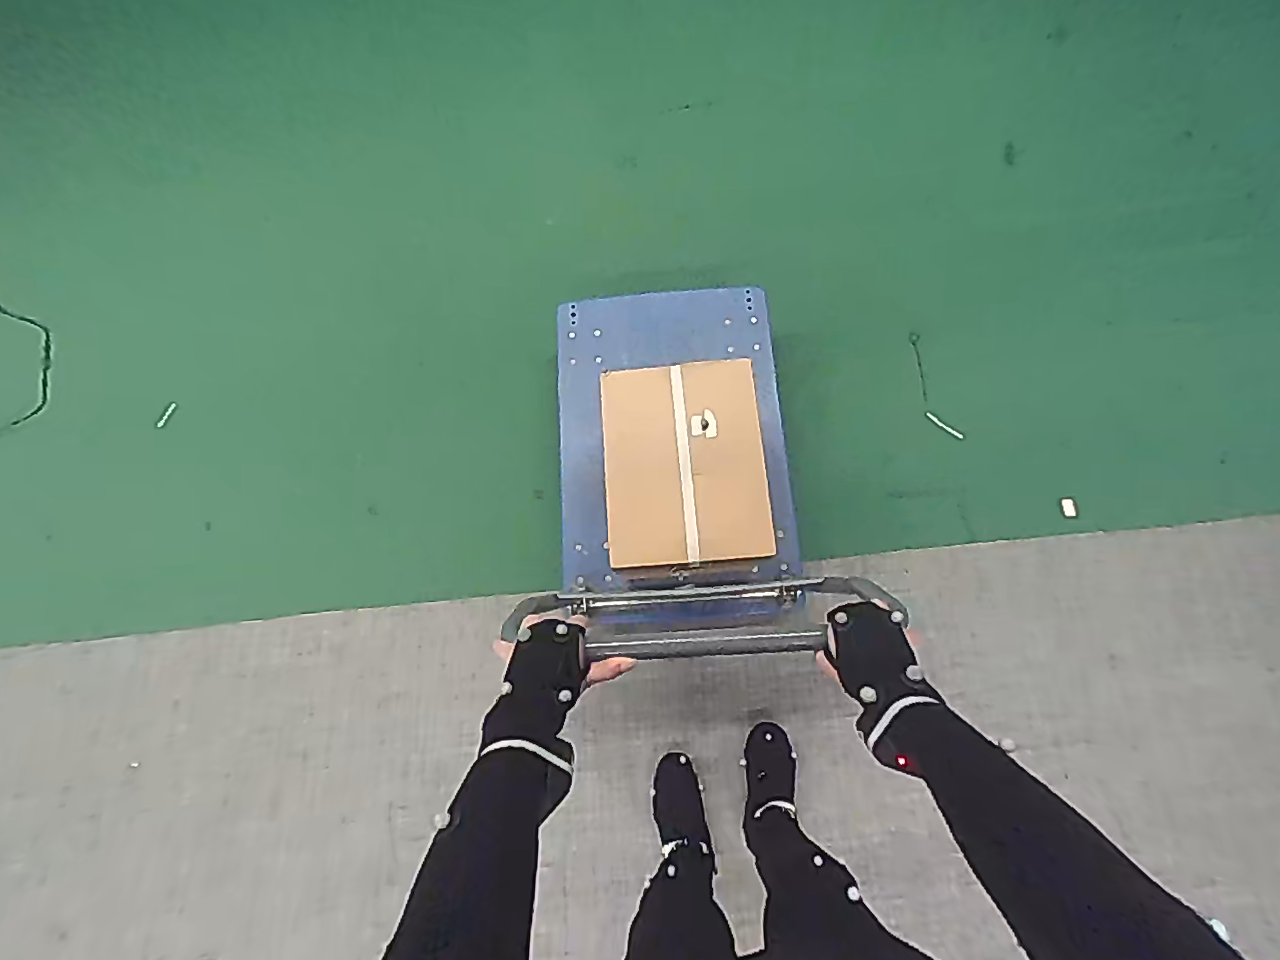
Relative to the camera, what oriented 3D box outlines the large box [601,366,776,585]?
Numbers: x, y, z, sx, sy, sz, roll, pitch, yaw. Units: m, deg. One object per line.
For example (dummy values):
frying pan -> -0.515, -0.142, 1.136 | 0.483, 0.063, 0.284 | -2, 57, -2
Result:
large box -> 0.098, 0.010, 1.204 | 0.320, 0.320, 0.408 | -5, 74, 2
